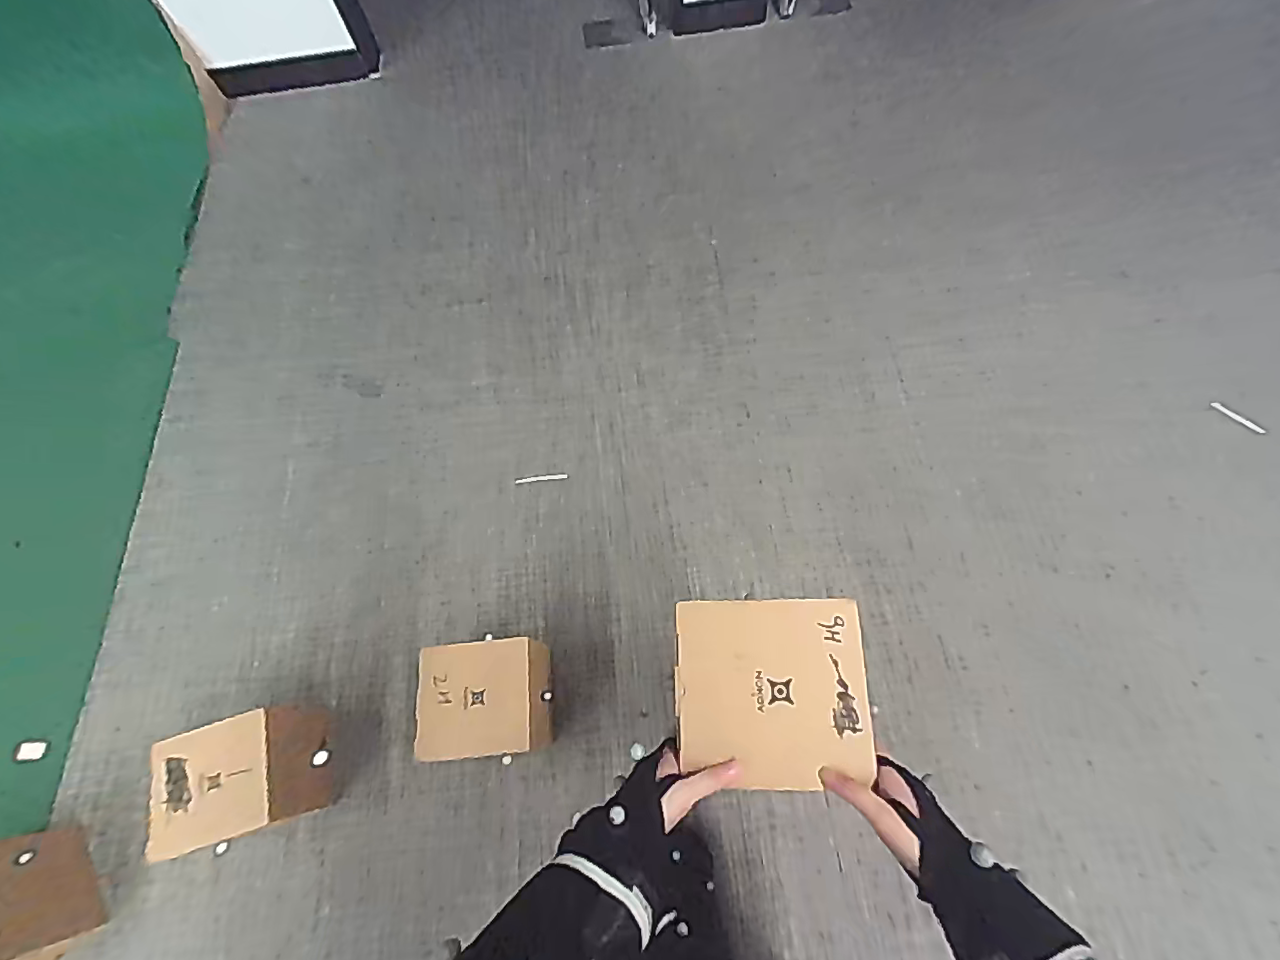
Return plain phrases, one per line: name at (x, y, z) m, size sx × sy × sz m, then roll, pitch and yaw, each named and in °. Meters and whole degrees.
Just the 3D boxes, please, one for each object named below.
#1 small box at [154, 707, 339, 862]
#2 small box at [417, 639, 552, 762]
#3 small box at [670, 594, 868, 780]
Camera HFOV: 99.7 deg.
small box at (-0.624, 0.480, 0.874) m, size 0.179 × 0.176 × 0.168 m, roll -18°, pitch 67°, yaw -4°
small box at (-0.244, 0.362, 0.897) m, size 0.179 × 0.176 × 0.168 m, roll -6°, pitch 66°, yaw 1°
small box at (0.128, 0.217, 0.590) m, size 0.179 × 0.176 × 0.168 m, roll -3°, pitch 73°, yaw 6°
